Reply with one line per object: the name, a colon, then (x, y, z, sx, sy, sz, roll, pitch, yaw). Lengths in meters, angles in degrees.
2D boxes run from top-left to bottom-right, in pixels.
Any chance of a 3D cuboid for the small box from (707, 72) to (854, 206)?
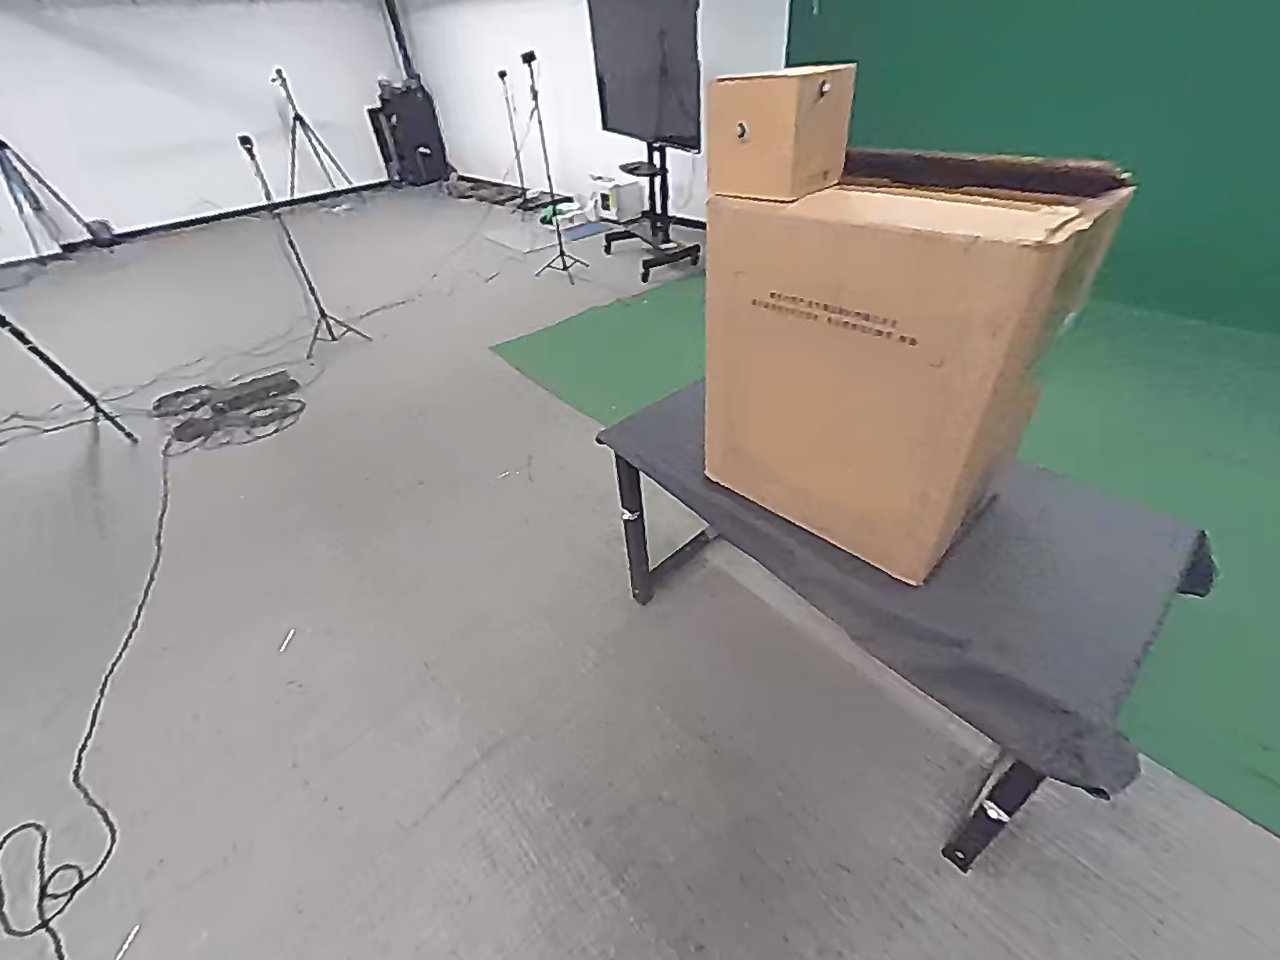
small box: (0.232, -0.574, 0.918, 0.168, 0.176, 0.179, -35, 45, -30)
